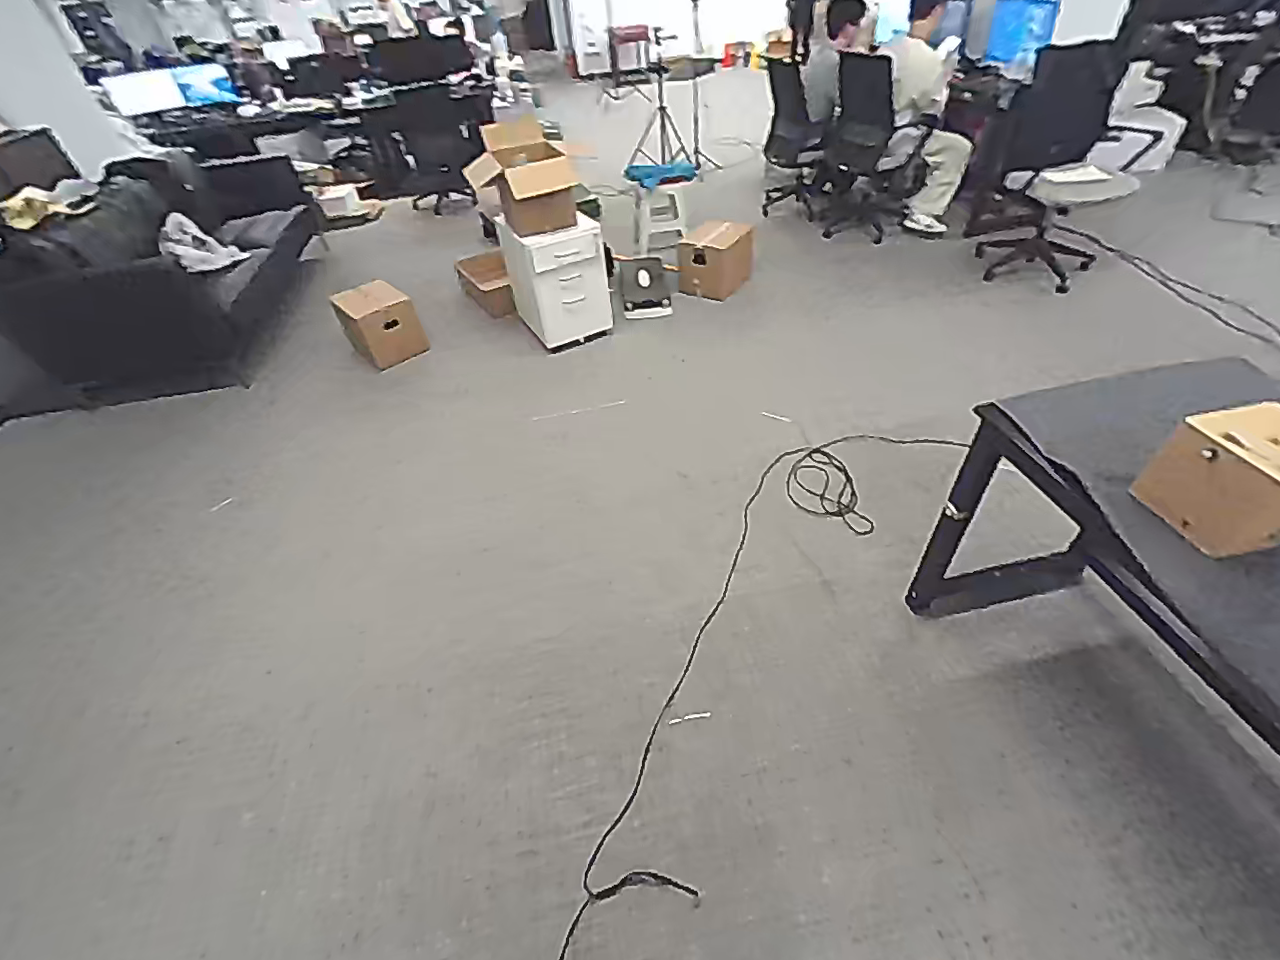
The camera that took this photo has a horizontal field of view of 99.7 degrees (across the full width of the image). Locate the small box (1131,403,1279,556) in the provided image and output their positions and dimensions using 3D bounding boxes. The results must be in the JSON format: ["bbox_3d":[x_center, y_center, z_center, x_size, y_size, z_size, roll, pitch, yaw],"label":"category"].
[{"bbox_3d":[0.978,0.000,0.881,0.179,0.176,0.168,-10,43,-5],"label":"small box"}]
